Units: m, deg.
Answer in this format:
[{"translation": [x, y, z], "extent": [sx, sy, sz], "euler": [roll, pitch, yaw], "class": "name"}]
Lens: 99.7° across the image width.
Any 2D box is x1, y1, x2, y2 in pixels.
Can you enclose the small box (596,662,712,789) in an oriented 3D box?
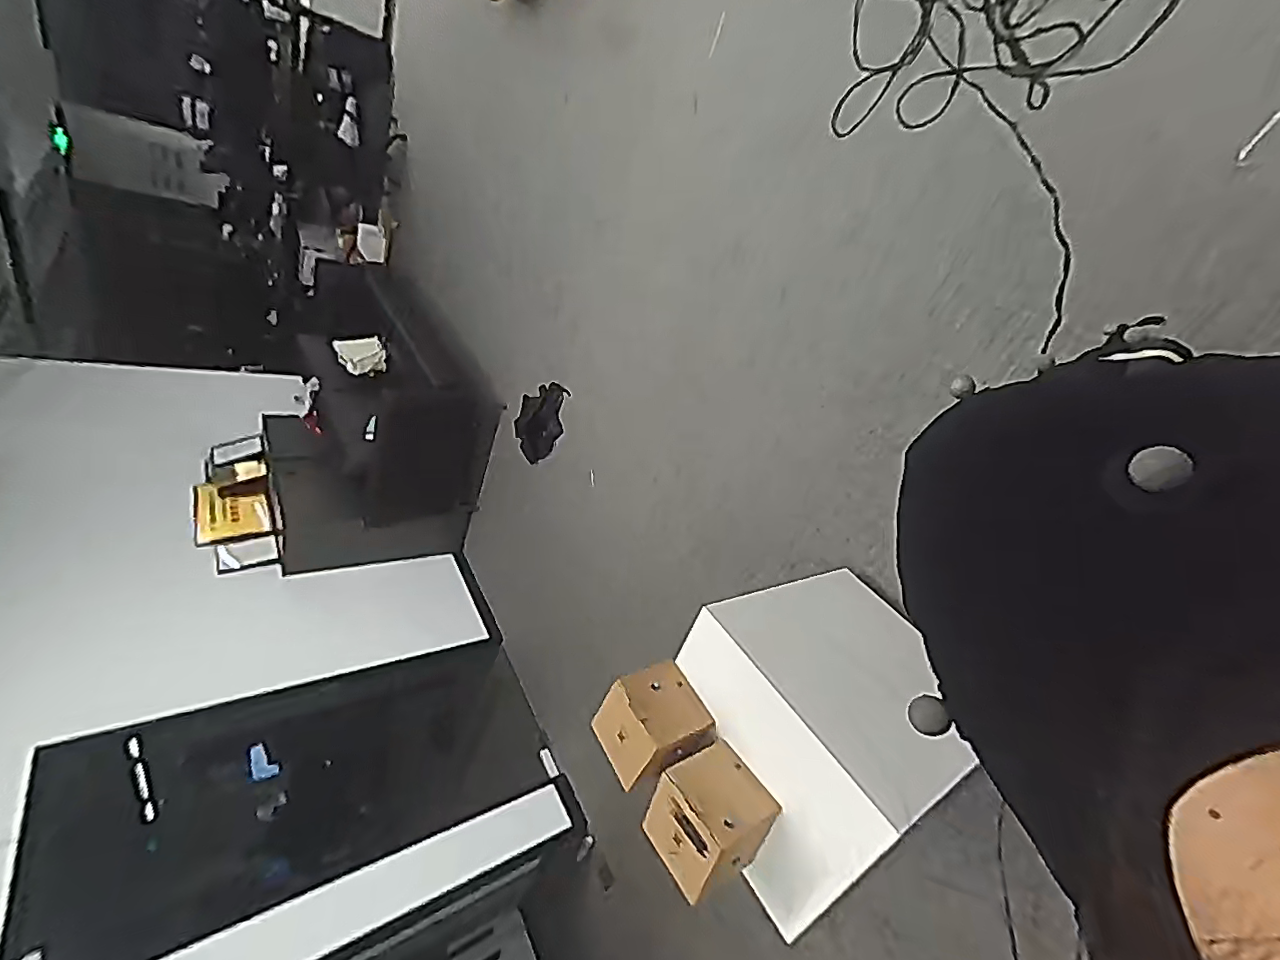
[{"translation": [0.033, 0.529, 1.186], "extent": [0.168, 0.176, 0.179], "euler": [51, 130, 38], "class": "small box"}]
